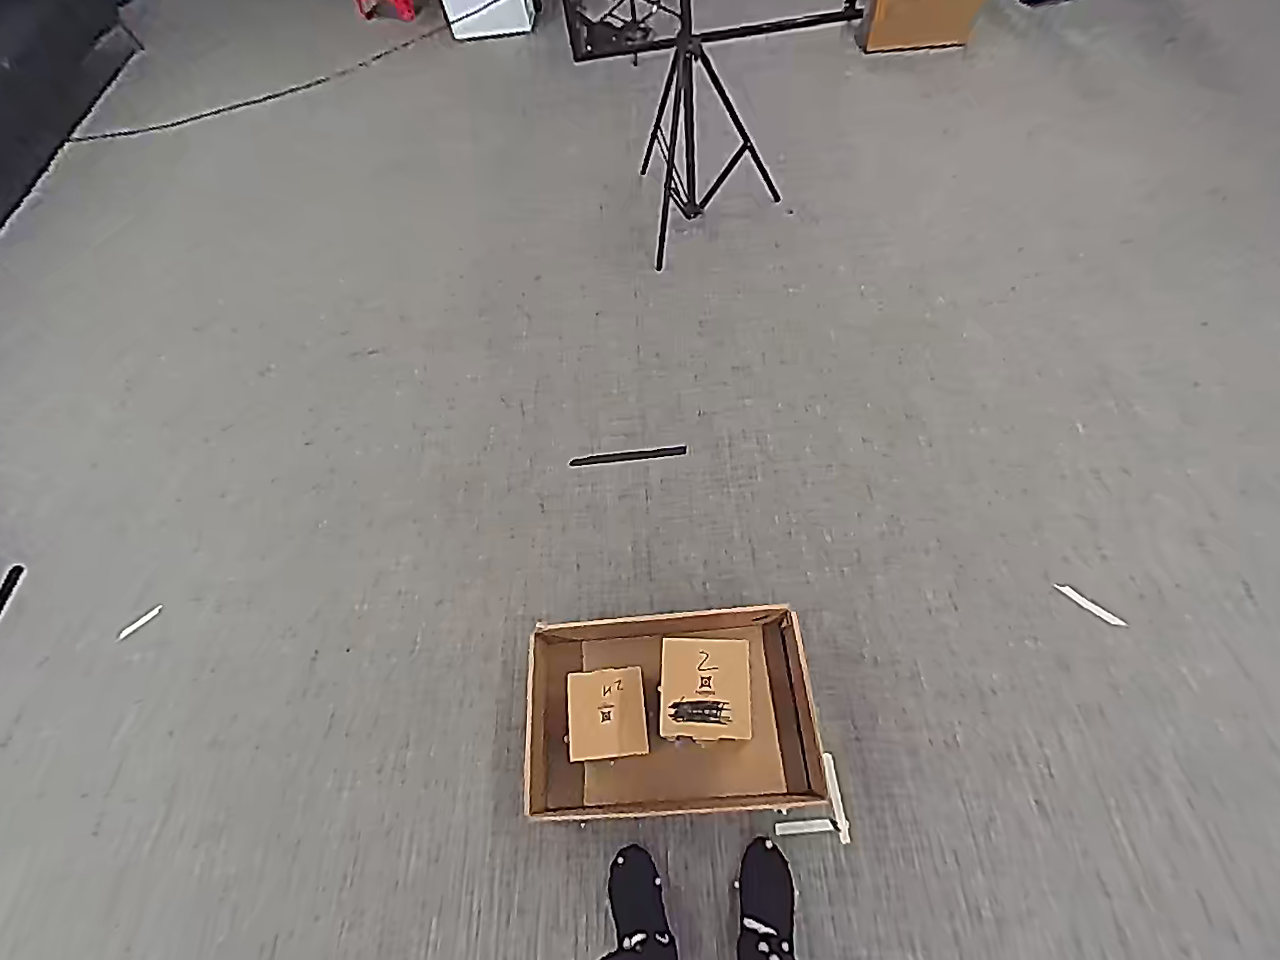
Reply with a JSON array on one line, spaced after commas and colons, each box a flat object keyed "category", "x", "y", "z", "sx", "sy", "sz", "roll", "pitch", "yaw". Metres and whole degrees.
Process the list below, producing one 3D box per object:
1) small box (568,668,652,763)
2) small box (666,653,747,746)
[{"category": "small box", "x": -0.065, "y": 0.530, "z": 1.212, "sx": 0.168, "sy": 0.176, "sz": 0.179, "roll": -6, "pitch": 62, "yaw": 1}, {"category": "small box", "x": 0.148, "y": 0.493, "z": 1.211, "sx": 0.168, "sy": 0.176, "sz": 0.179, "roll": -3, "pitch": 63, "yaw": 8}]
